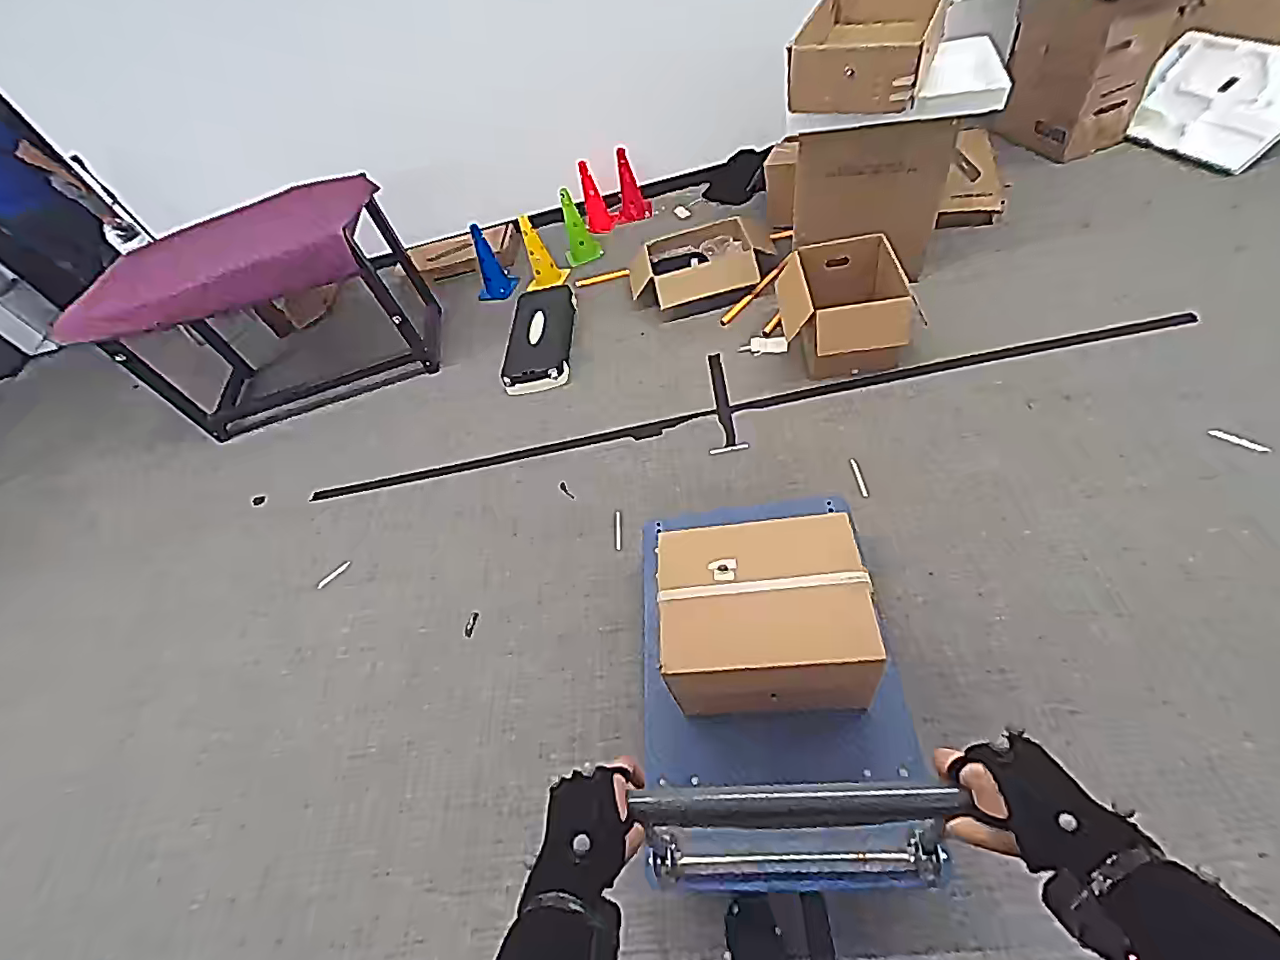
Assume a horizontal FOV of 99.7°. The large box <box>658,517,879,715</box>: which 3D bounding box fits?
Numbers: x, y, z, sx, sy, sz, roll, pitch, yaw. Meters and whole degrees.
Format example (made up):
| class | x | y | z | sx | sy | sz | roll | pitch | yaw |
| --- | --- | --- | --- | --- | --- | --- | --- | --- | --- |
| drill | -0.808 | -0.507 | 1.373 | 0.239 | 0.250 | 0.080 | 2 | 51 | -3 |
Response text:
| class | x | y | z | sx | sy | sz | roll | pitch | yaw |
| --- | --- | --- | --- | --- | --- | --- | --- | --- | --- |
| large box | 0.271 | 0.316 | 1.205 | 0.408 | 0.320 | 0.320 | -8 | 50 | 11 |
